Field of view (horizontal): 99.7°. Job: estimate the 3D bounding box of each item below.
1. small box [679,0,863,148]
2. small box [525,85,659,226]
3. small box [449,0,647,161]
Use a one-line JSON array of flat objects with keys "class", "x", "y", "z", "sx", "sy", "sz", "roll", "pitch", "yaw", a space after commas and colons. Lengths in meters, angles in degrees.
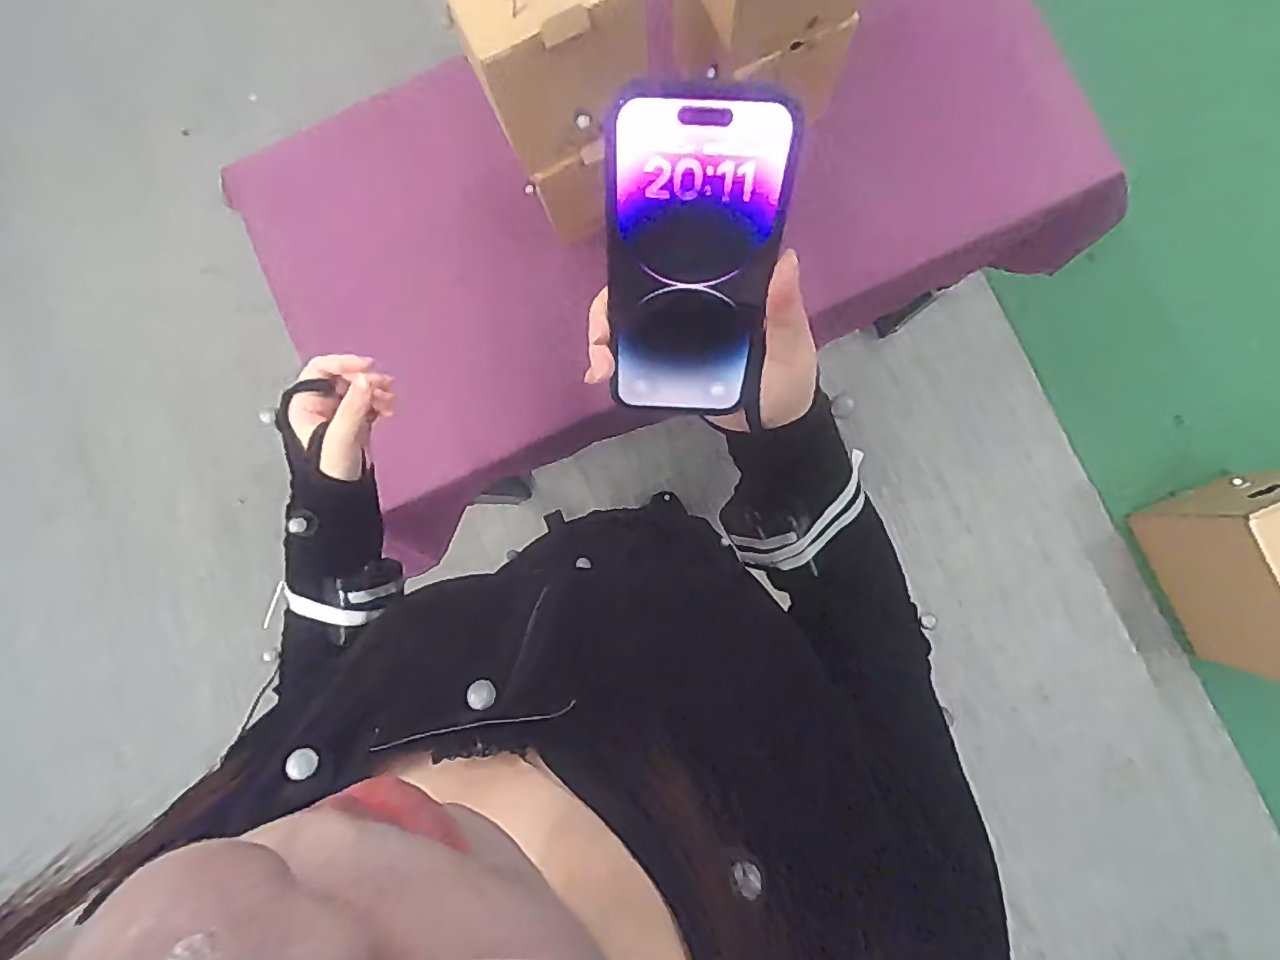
[{"class": "small box", "x": 0.157, "y": -0.596, "z": 0.718, "sx": 0.168, "sy": 0.176, "sz": 0.179, "roll": -25, "pitch": 87, "yaw": 2}, {"class": "small box", "x": -0.079, "y": -0.475, "z": 0.728, "sx": 0.168, "sy": 0.176, "sz": 0.179, "roll": -25, "pitch": 86, "yaw": 1}, {"class": "small box", "x": -0.102, "y": -0.487, "z": 0.564, "sx": 0.168, "sy": 0.176, "sz": 0.179, "roll": -26, "pitch": 87, "yaw": 2}]
